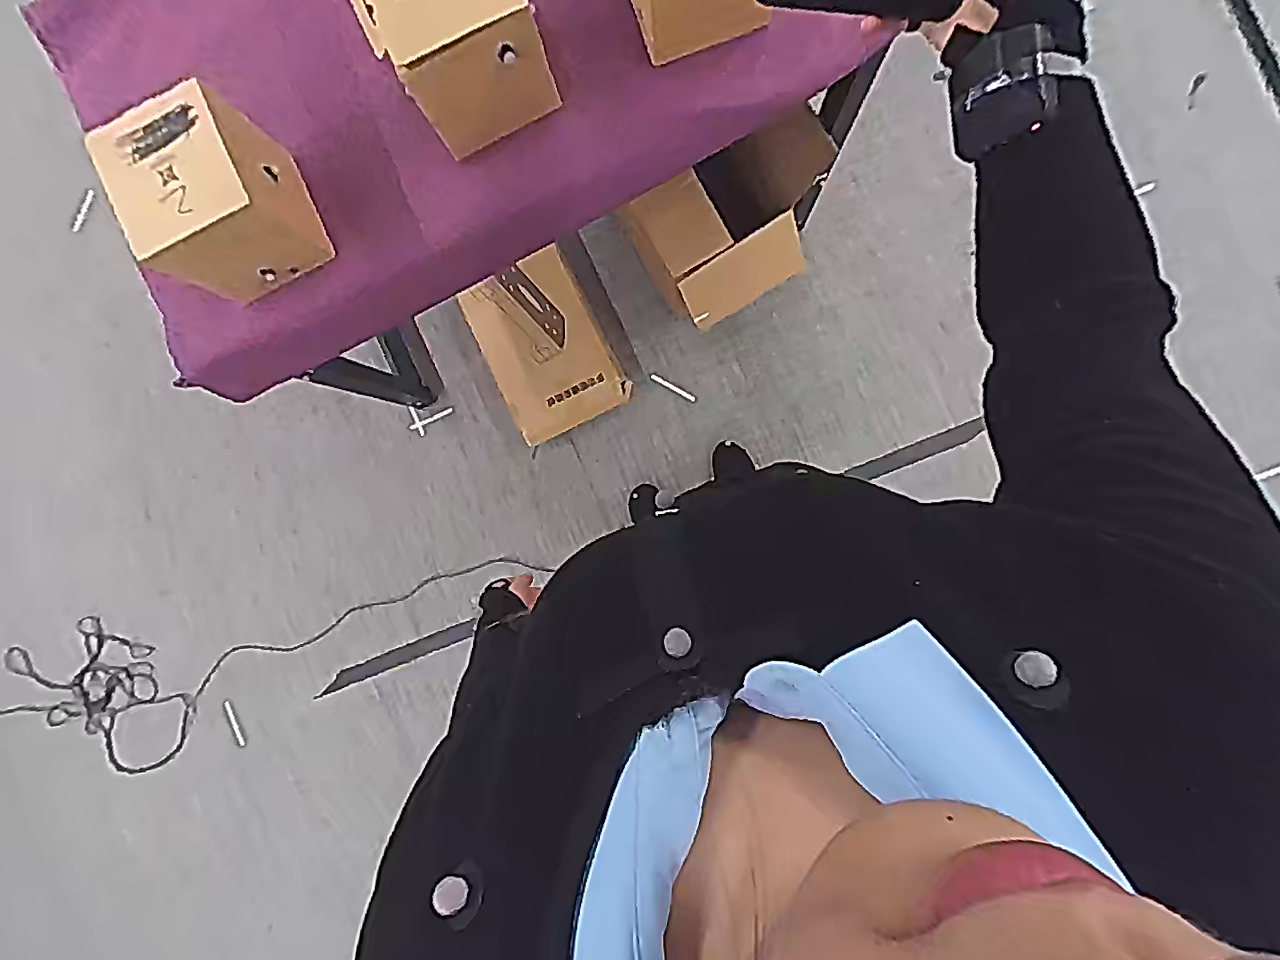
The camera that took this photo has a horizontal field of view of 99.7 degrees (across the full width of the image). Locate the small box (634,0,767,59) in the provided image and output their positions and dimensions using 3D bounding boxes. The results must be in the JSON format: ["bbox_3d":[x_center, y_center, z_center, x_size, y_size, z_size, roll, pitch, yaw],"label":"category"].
[{"bbox_3d":[0.067,-0.691,0.684,0.179,0.176,0.168,-18,89,4],"label":"small box"}]

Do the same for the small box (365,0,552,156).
[{"bbox_3d":[-0.229,-0.577,0.707,0.179,0.176,0.168,-26,86,4],"label":"small box"}]
